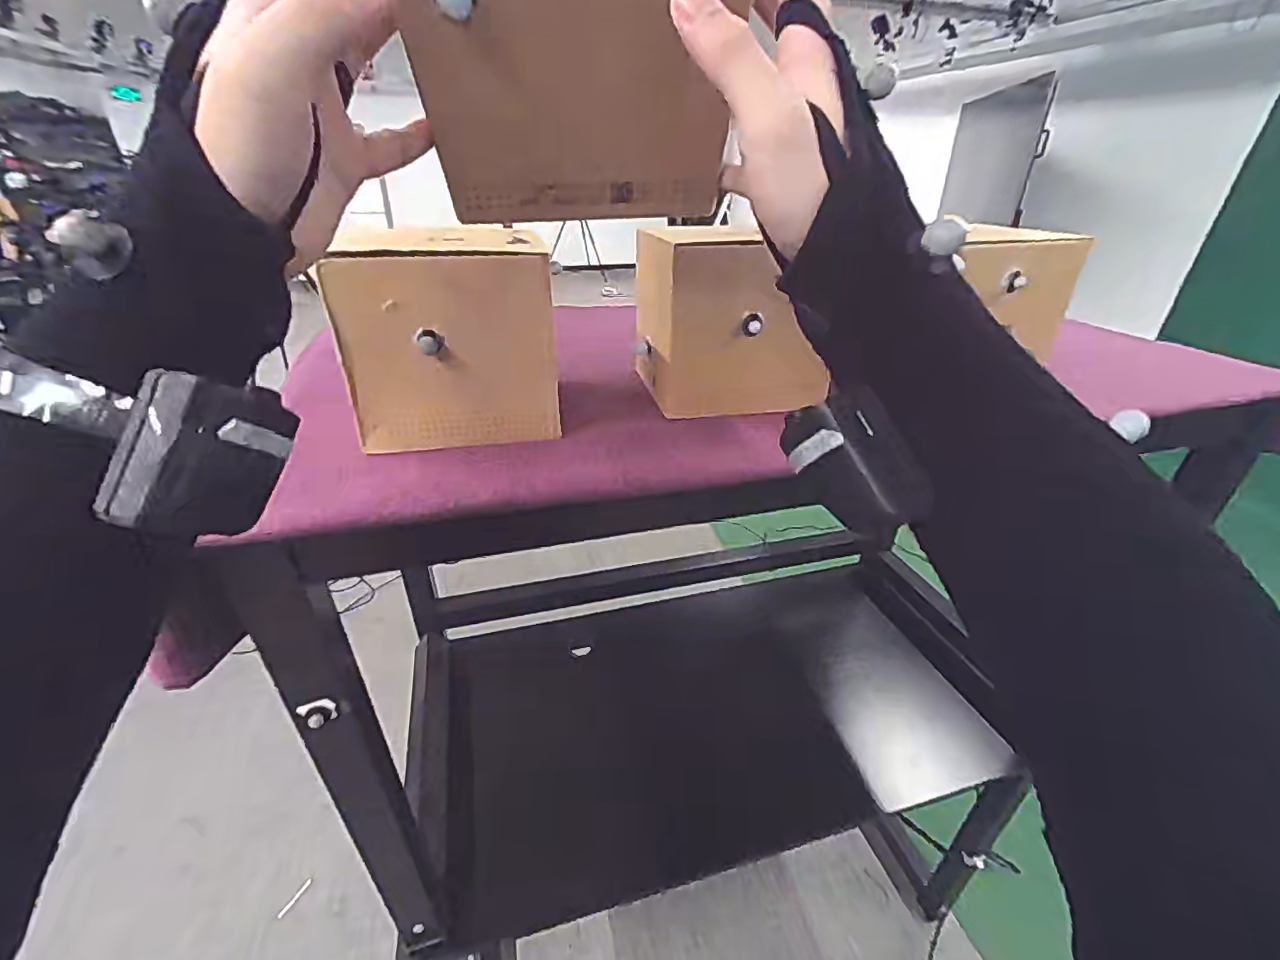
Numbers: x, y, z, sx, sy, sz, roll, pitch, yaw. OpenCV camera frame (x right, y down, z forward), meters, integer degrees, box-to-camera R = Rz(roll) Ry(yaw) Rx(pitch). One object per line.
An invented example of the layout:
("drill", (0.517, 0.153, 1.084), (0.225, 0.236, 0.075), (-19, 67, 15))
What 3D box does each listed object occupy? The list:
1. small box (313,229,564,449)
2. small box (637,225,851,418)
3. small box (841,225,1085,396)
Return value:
("small box", (-0.173, -0.139, 0.519), (0.179, 0.176, 0.168), (-7, 32, -12))
("small box", (0.096, -0.177, 0.591), (0.179, 0.176, 0.168), (-6, 30, -10))
("small box", (0.364, -0.206, 0.650), (0.179, 0.176, 0.168), (-7, 31, -14))
